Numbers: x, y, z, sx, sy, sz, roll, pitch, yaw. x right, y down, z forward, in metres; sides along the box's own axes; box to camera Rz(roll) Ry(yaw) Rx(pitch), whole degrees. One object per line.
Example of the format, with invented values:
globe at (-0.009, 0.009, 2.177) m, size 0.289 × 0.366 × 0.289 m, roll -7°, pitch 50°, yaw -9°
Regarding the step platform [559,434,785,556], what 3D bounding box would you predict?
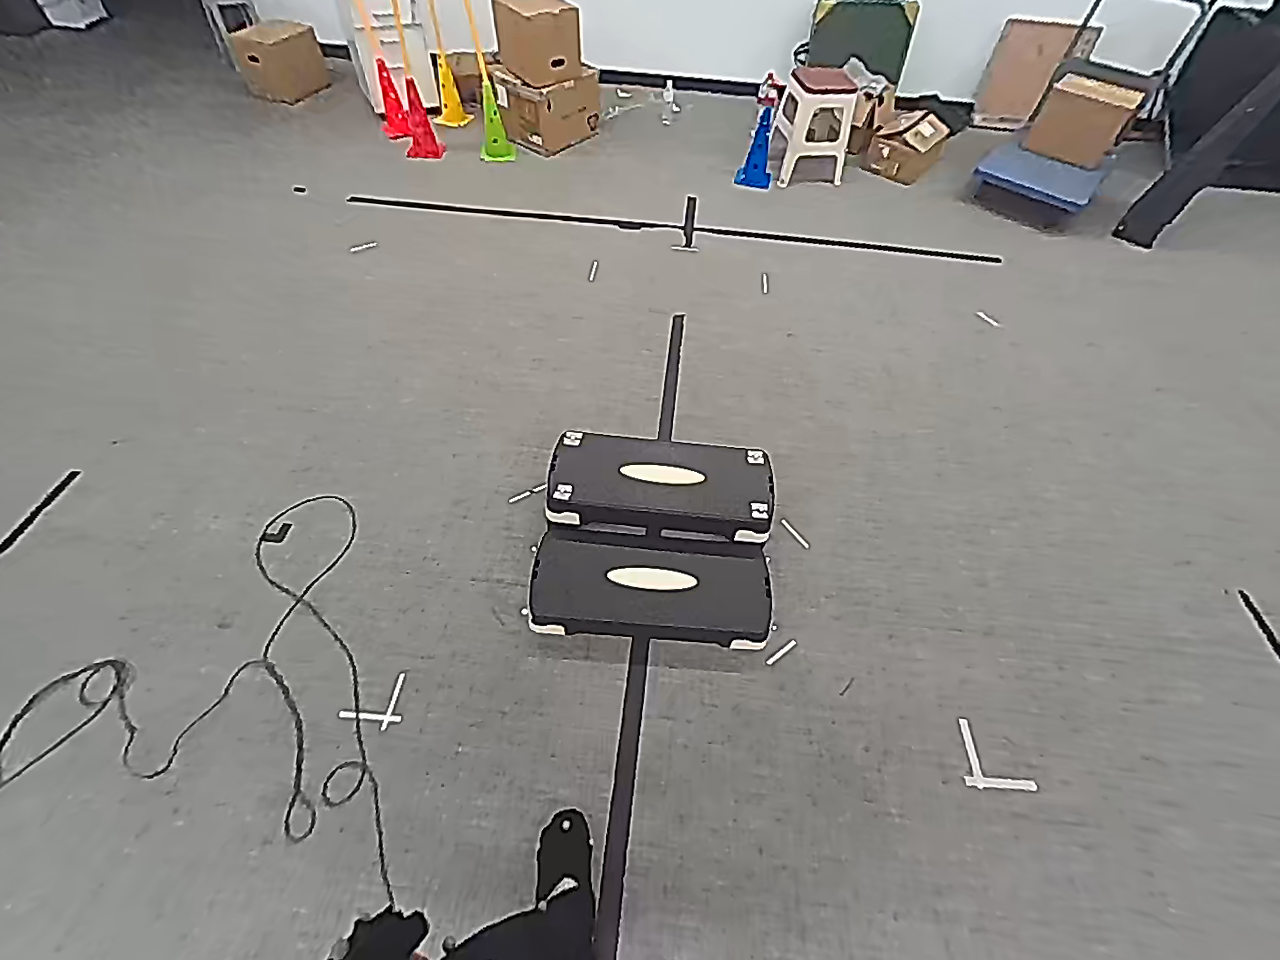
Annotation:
step platform at (0.097, 0.043, 1.673) m, size 0.684 × 0.204 × 0.286 m, roll 6°, pitch 53°, yaw 0°
